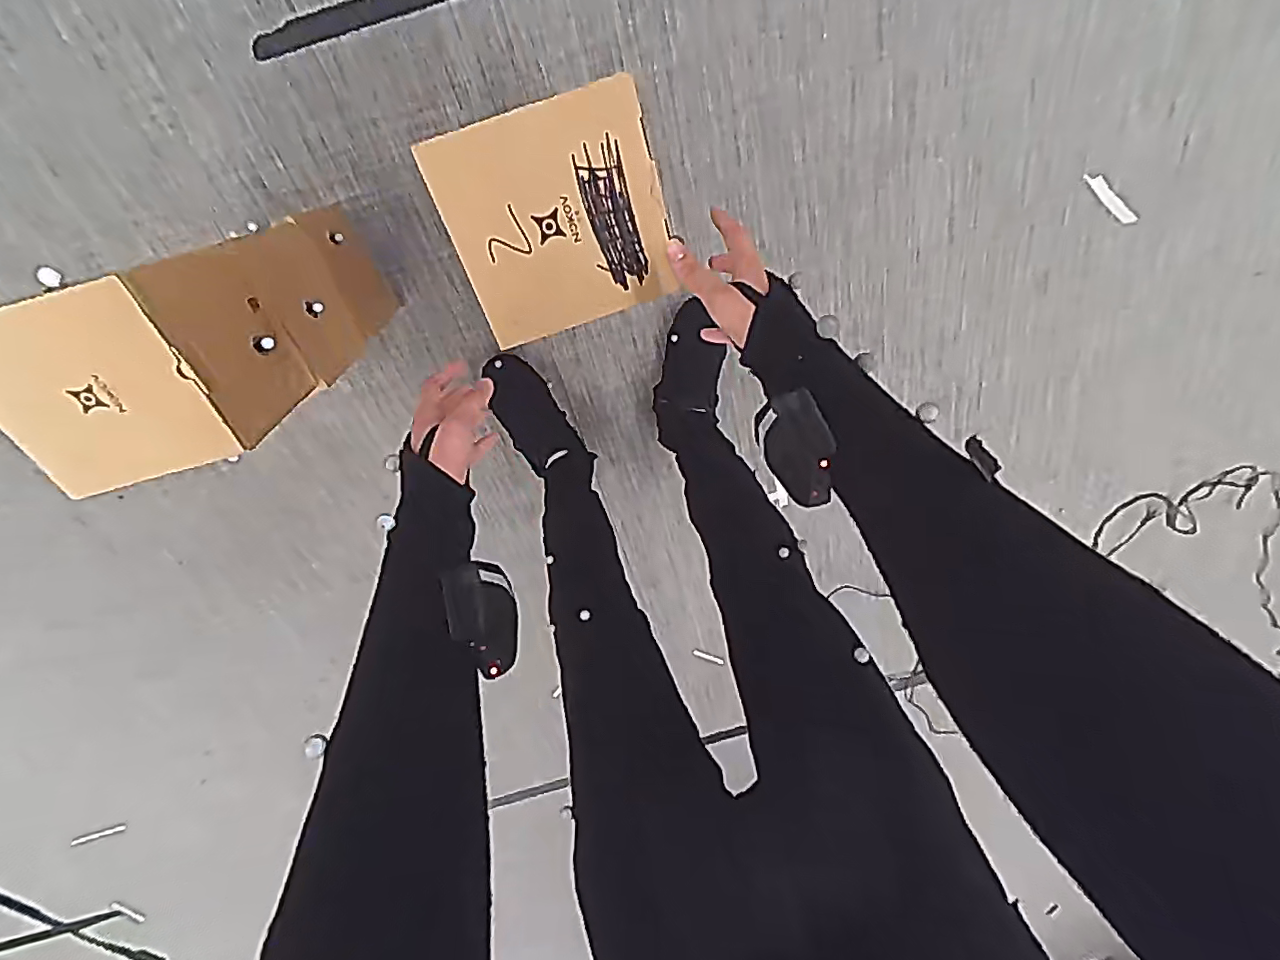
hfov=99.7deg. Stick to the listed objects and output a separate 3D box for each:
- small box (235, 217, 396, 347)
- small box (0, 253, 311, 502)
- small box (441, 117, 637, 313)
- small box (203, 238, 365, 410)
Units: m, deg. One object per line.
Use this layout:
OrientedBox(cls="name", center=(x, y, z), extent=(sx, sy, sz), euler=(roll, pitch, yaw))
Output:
OrientedBox(cls="small box", center=(-0.499, -0.276, 0.808), extent=(0.168, 0.176, 0.179), euler=(-22, 122, 4))
OrientedBox(cls="small box", center=(-0.473, -0.107, 0.530), extent=(0.179, 0.176, 0.168), euler=(-16, 122, 0))
OrientedBox(cls="small box", center=(-0.116, -0.322, 0.652), extent=(0.179, 0.176, 0.168), euler=(-15, 122, -2))
OrientedBox(cls="small box", center=(-0.482, -0.185, 0.672), extent=(0.168, 0.176, 0.179), euler=(-20, 123, 3))
